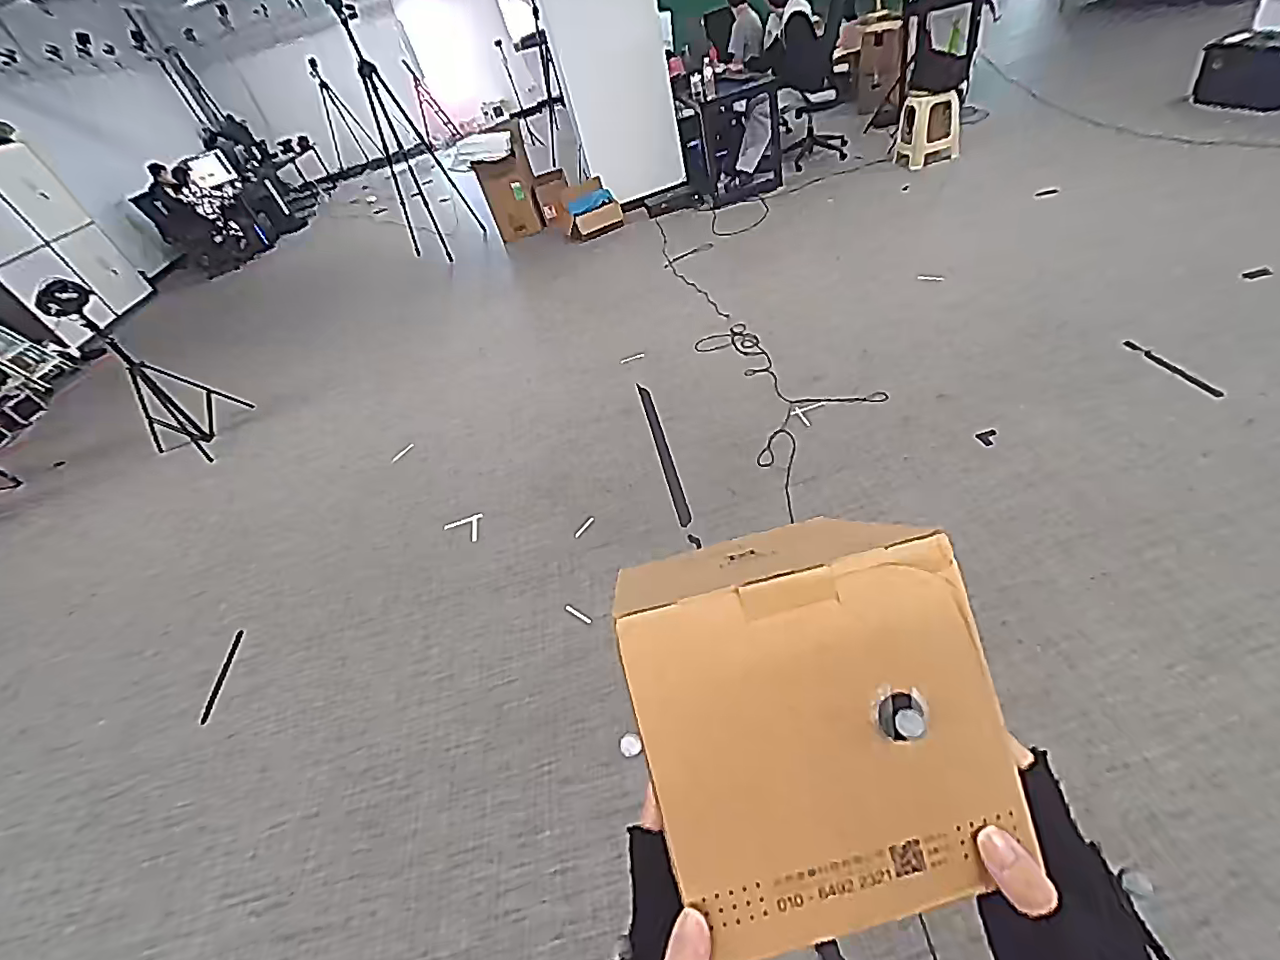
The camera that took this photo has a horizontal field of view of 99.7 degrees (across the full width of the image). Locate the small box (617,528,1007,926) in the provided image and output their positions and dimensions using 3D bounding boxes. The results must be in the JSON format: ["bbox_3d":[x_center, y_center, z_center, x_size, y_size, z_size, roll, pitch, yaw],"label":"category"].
[{"bbox_3d":[0.089,0.137,0.347,0.168,0.176,0.179,-15,-3,-1],"label":"small box"}]
